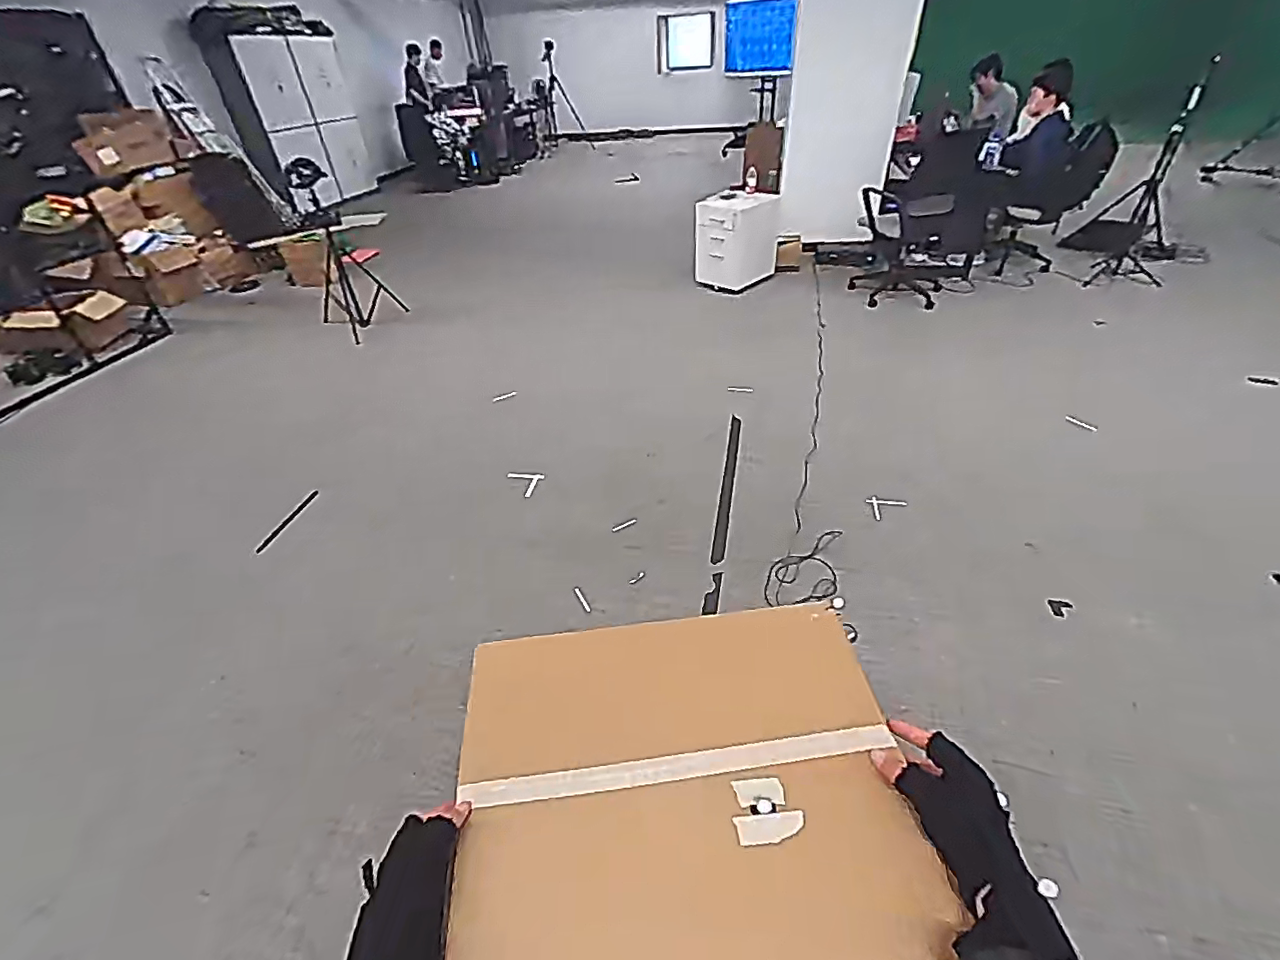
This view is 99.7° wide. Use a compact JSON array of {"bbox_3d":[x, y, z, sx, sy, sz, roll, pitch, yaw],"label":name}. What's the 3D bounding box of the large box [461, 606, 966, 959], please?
[{"bbox_3d":[0.048,0.381,0.616,0.408,0.320,0.320,-6,43,-3],"label":"large box"}]
